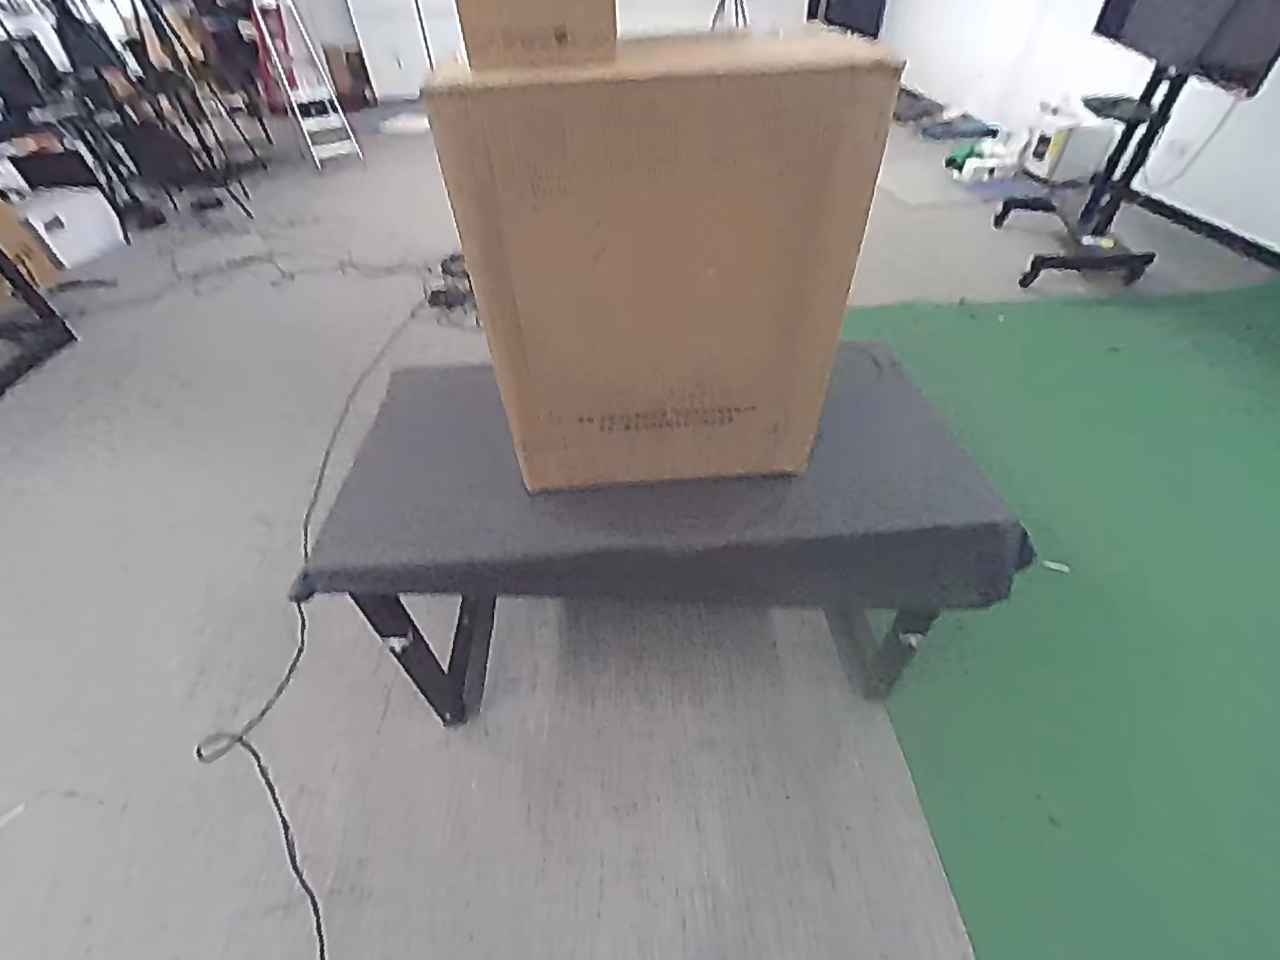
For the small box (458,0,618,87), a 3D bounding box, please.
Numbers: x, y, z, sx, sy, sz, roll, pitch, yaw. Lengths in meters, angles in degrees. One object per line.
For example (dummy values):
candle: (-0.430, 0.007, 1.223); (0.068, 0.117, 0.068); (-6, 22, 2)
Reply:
small box: (-0.114, -0.560, 0.614); (0.168, 0.176, 0.179); (-4, 44, -4)
